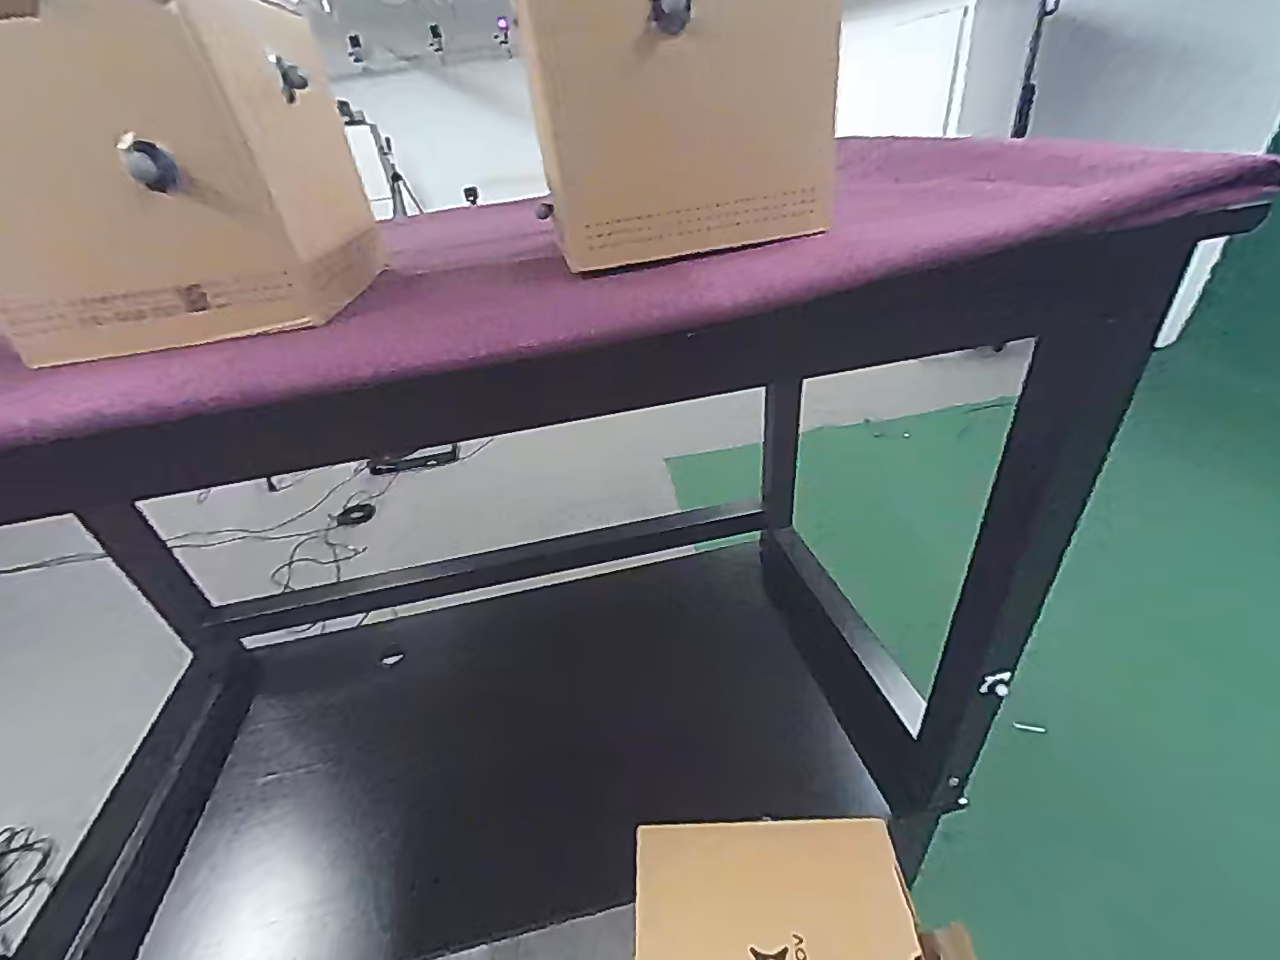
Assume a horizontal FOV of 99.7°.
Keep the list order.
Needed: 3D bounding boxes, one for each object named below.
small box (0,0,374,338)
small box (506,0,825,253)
[{"bbox_3d":[-0.288,-0.193,0.330,0.168,0.176,0.179,-9,33,-5],"label":"small box"},{"bbox_3d":[0.014,-0.262,0.368,0.179,0.176,0.168,-12,32,-6],"label":"small box"}]
